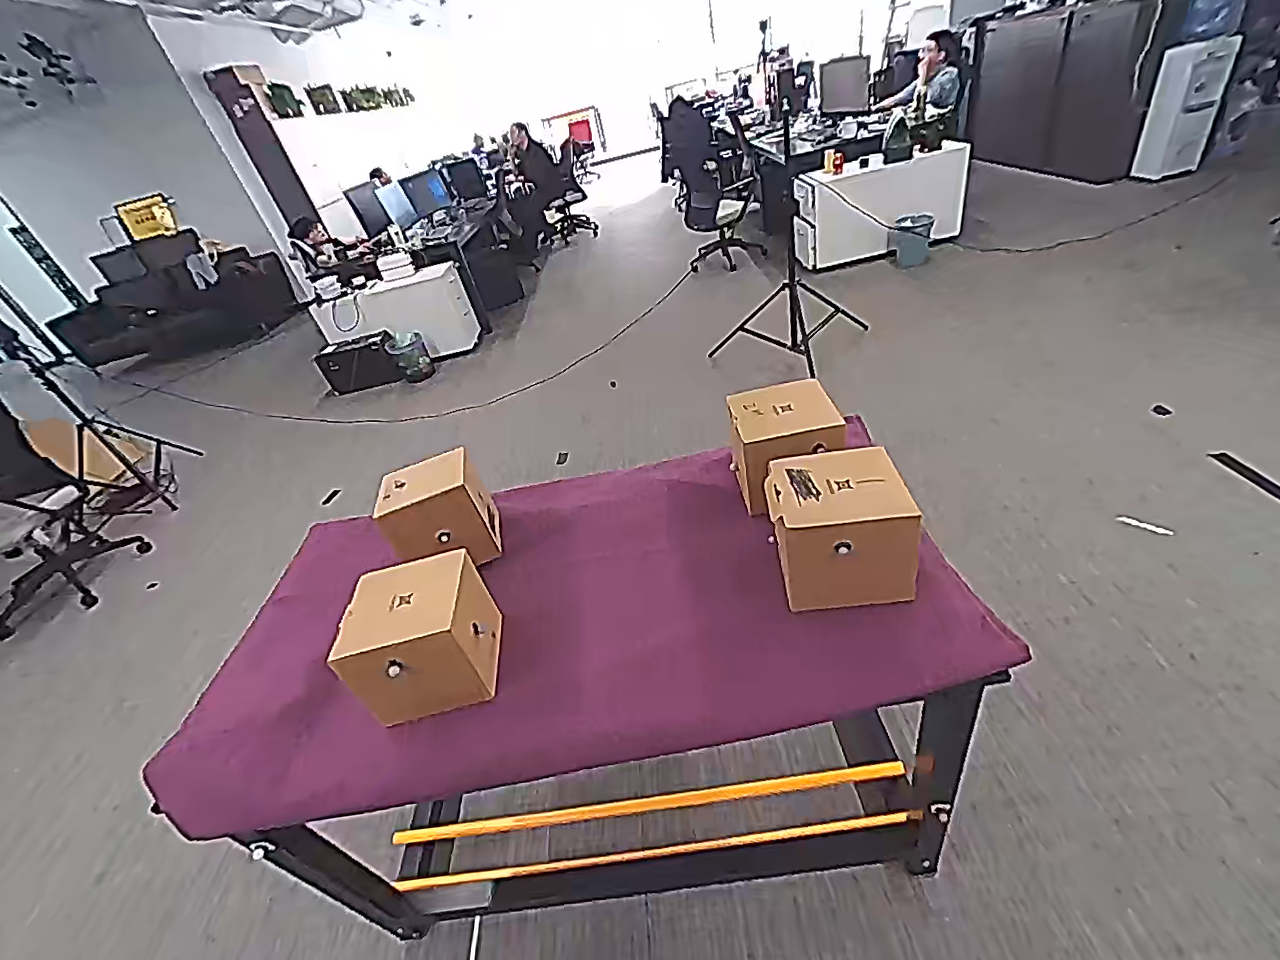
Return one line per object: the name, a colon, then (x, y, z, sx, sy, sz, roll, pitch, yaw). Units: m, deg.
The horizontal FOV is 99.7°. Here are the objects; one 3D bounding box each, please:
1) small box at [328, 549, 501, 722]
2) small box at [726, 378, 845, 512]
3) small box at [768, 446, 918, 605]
small box: (-0.327, 0.238, 0.829, 0.179, 0.176, 0.168, -15, 35, 1)
small box: (0.266, -0.063, 1.007, 0.179, 0.176, 0.168, -11, 37, 5)
small box: (0.297, 0.072, 0.817, 0.179, 0.176, 0.168, -8, 35, 10)
